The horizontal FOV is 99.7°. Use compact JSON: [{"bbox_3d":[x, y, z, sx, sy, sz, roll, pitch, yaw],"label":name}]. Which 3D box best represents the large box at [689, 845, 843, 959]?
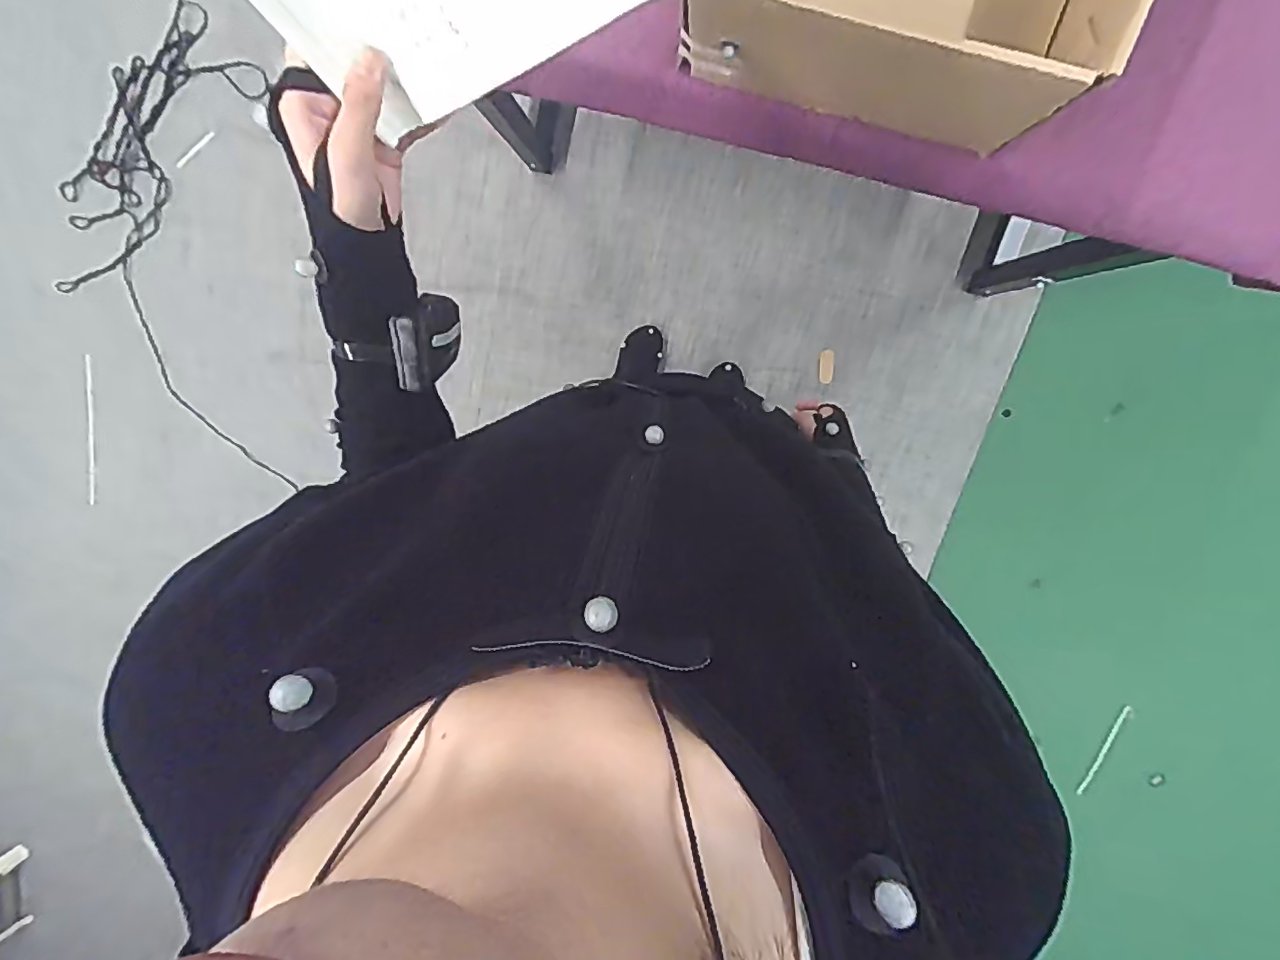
[{"bbox_3d":[0.352,1.357,1.619,0.408,0.320,0.320,1,103,4],"label":"large box"}]
